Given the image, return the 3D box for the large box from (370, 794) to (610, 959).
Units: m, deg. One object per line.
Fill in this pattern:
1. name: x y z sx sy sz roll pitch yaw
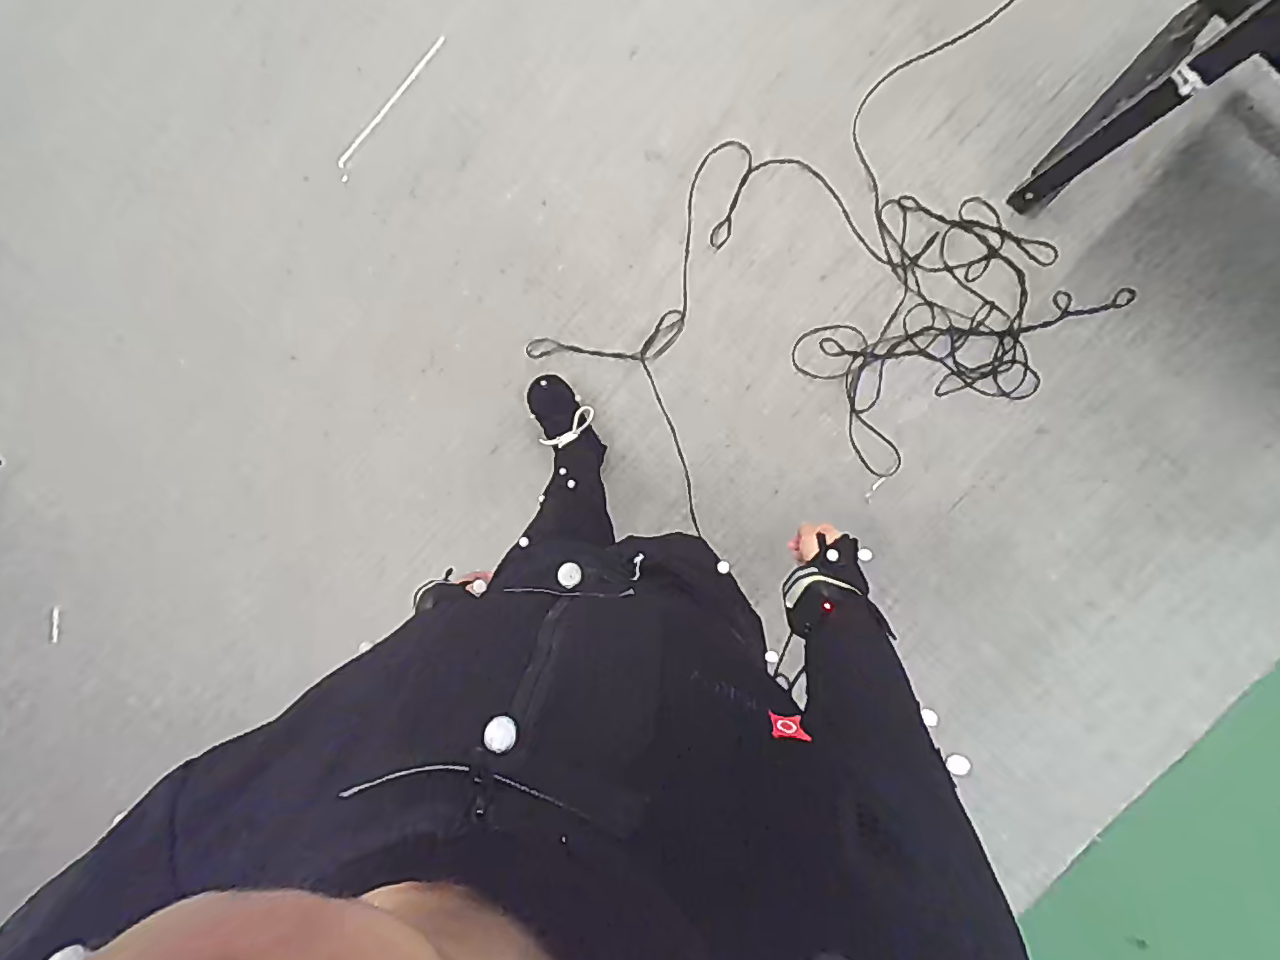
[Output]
1. large box: -0.328 1.049 1.252 0.408 0.320 0.320 42 92 1
